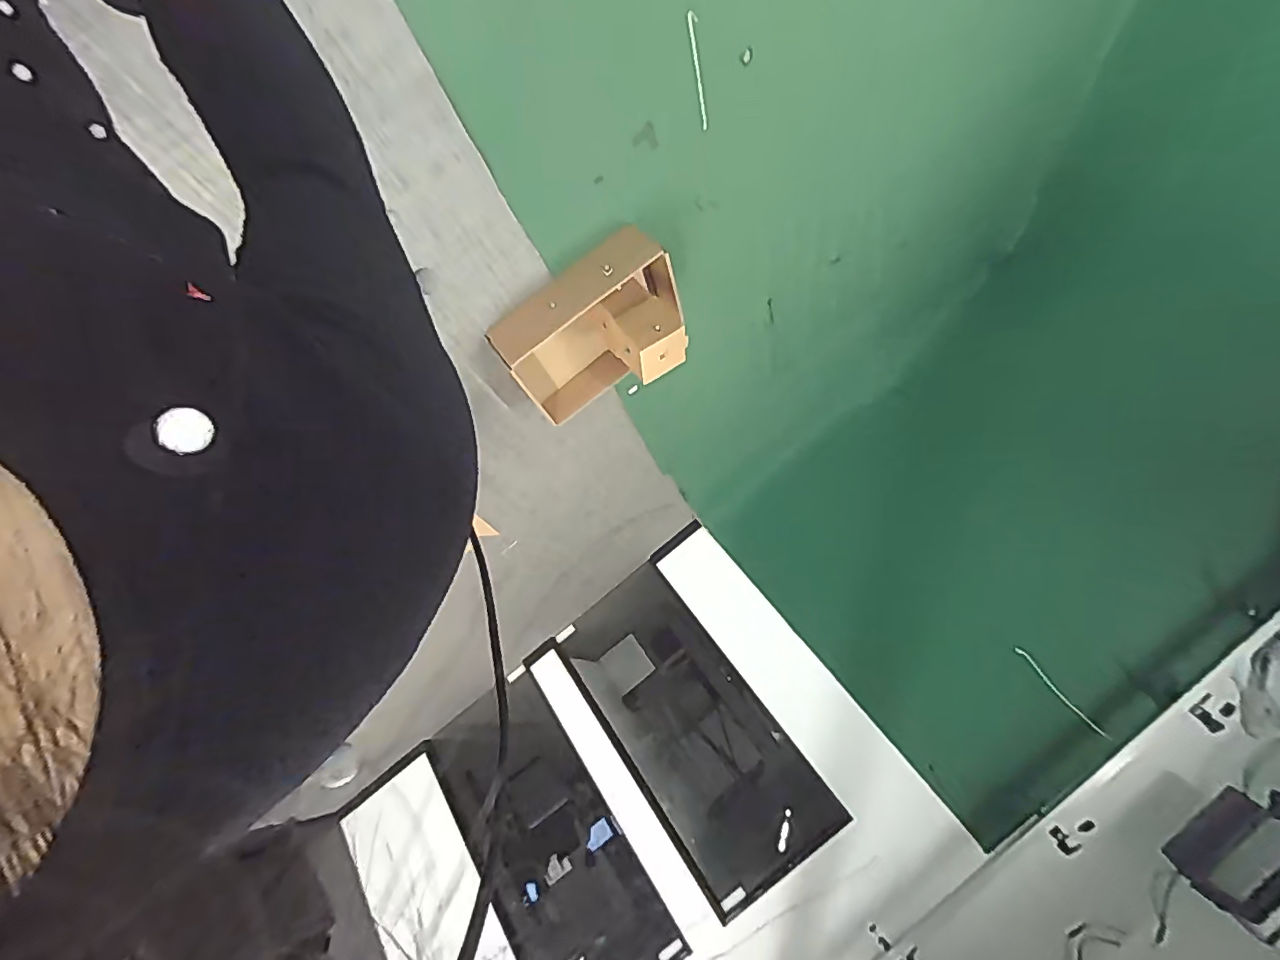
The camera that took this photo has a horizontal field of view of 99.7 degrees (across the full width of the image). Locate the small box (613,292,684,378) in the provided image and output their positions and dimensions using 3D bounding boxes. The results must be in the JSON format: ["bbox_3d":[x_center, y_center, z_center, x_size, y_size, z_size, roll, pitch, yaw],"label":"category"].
[{"bbox_3d":[0.024,-0.472,1.756,0.179,0.176,0.168,-33,155,-12],"label":"small box"}]

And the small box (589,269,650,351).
[{"bbox_3d":[-0.060,-0.581,1.845,0.168,0.176,0.179,-31,153,-16],"label":"small box"}]
